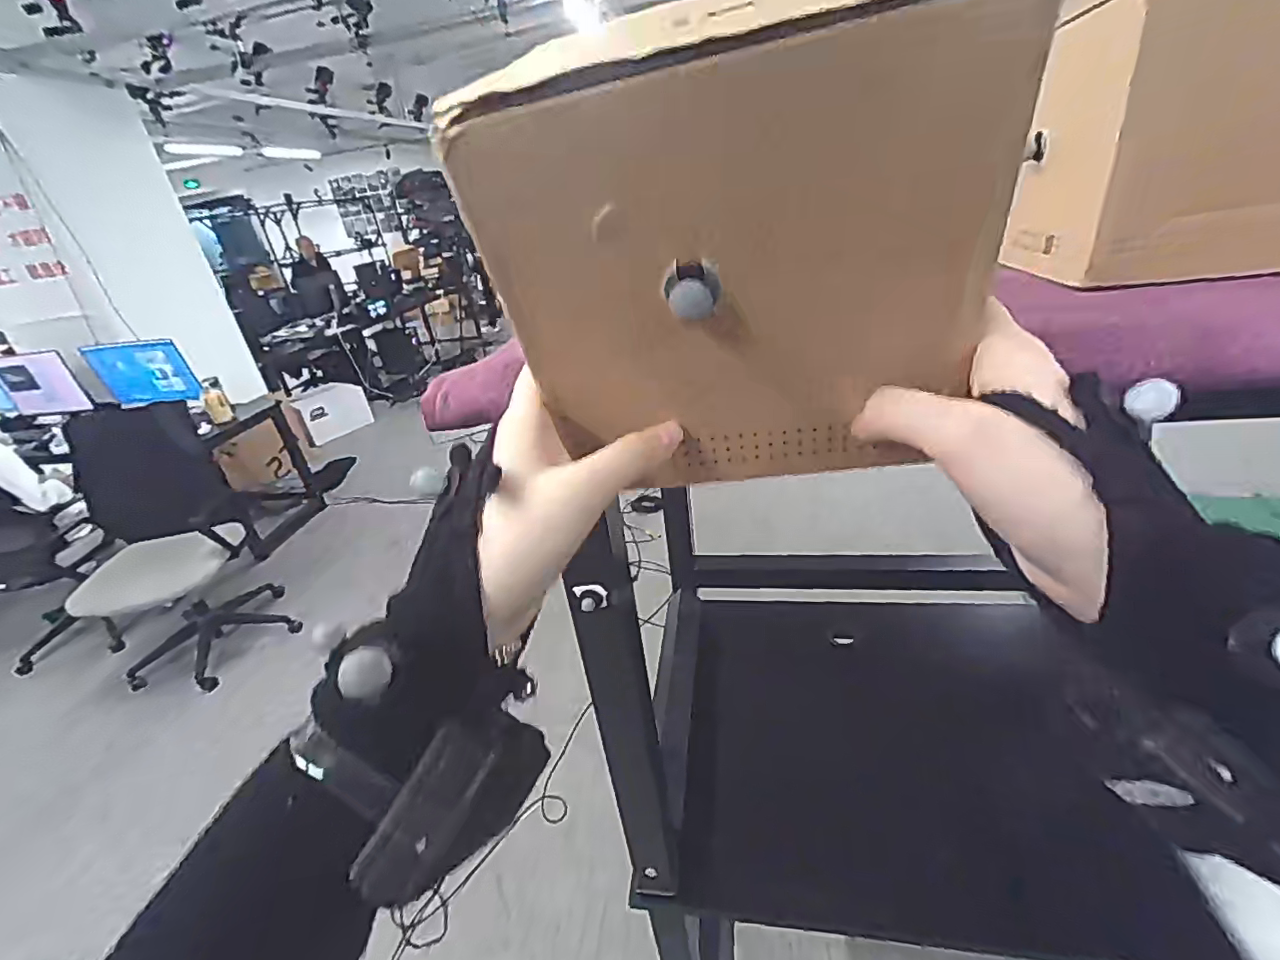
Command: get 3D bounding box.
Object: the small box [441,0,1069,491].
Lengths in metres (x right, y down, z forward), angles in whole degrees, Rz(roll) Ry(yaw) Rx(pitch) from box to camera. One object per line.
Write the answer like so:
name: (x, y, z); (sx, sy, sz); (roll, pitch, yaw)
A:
small box: (0.047, -0.110, 0.253); (0.179, 0.176, 0.168); (-6, 45, 12)

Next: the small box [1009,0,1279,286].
small box: (0.392, -0.240, 0.383); (0.179, 0.176, 0.168); (-1, 28, 13)
